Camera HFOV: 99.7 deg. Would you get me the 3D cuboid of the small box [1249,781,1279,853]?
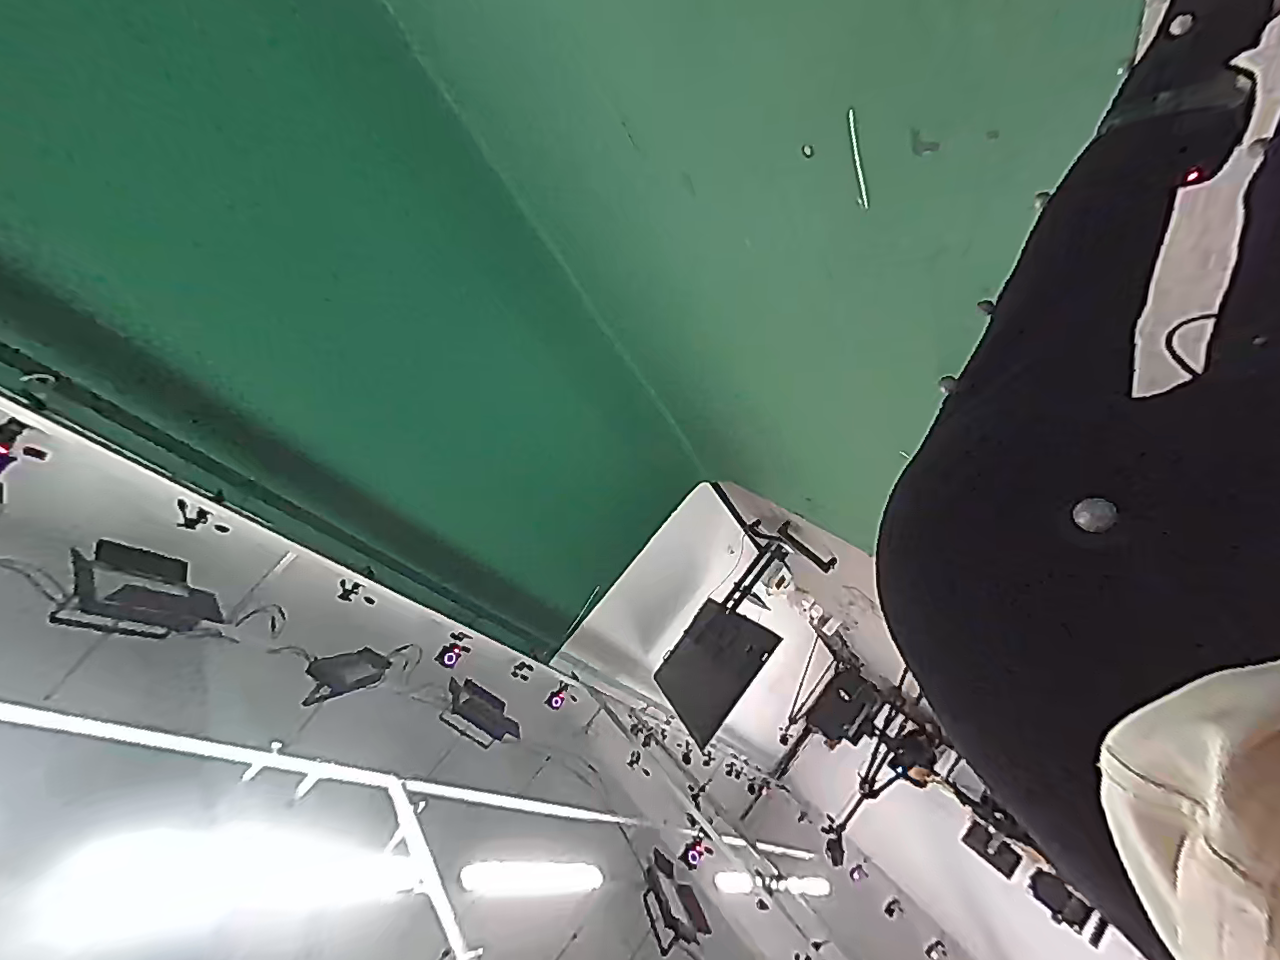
[{"bbox_3d":[1.631,0.834,1.287,0.179,0.176,0.168,31,168,46],"label":"small box"}]
